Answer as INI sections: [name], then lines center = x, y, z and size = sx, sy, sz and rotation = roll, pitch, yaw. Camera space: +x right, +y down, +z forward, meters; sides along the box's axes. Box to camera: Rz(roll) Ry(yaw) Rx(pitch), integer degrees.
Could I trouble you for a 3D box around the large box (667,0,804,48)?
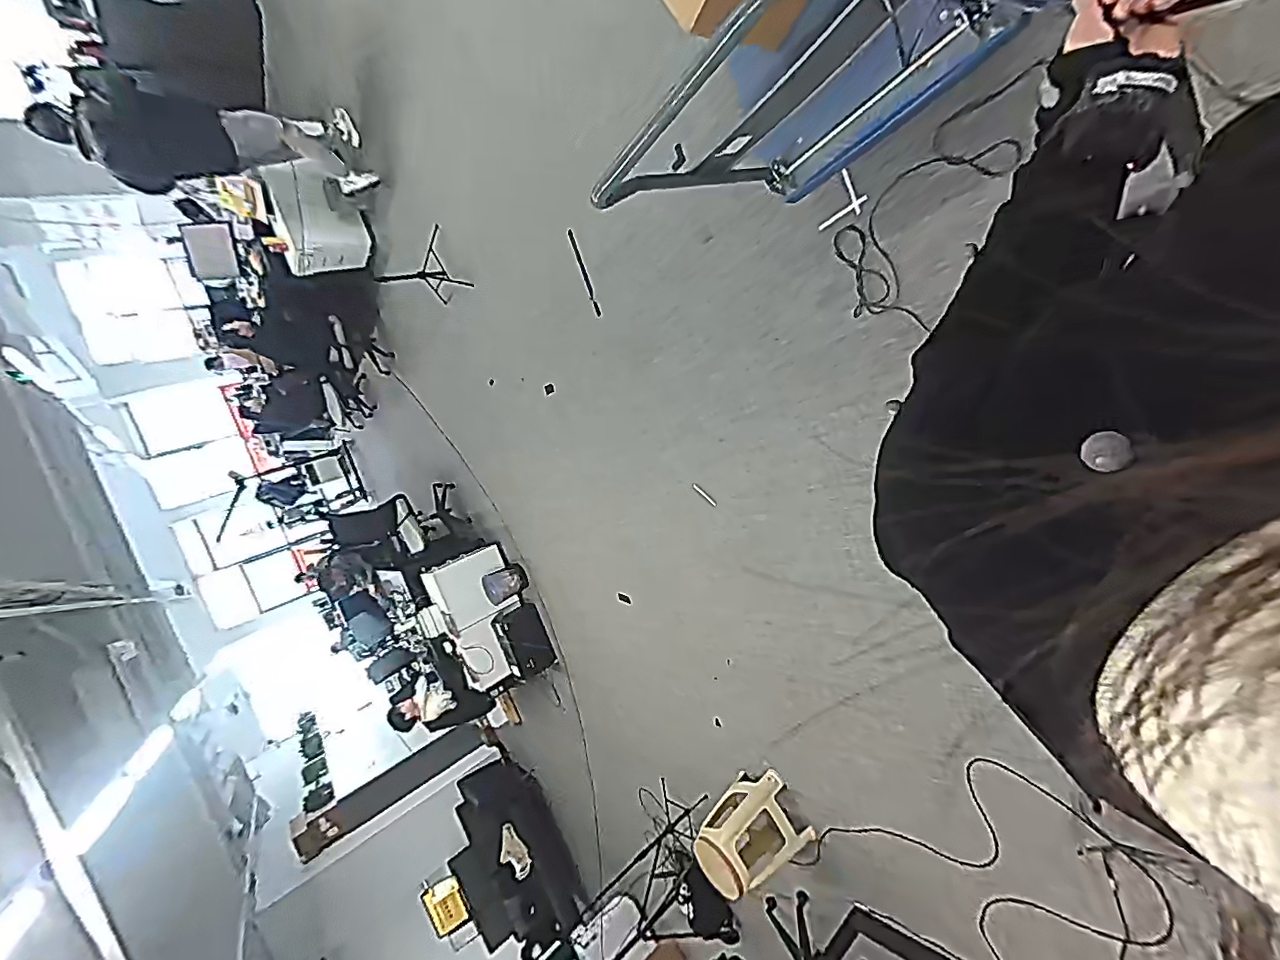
[large box]
center = 0.225, -1.192, 1.077
size = 0.320, 0.320, 0.408
rotation = 60, 144, 8
